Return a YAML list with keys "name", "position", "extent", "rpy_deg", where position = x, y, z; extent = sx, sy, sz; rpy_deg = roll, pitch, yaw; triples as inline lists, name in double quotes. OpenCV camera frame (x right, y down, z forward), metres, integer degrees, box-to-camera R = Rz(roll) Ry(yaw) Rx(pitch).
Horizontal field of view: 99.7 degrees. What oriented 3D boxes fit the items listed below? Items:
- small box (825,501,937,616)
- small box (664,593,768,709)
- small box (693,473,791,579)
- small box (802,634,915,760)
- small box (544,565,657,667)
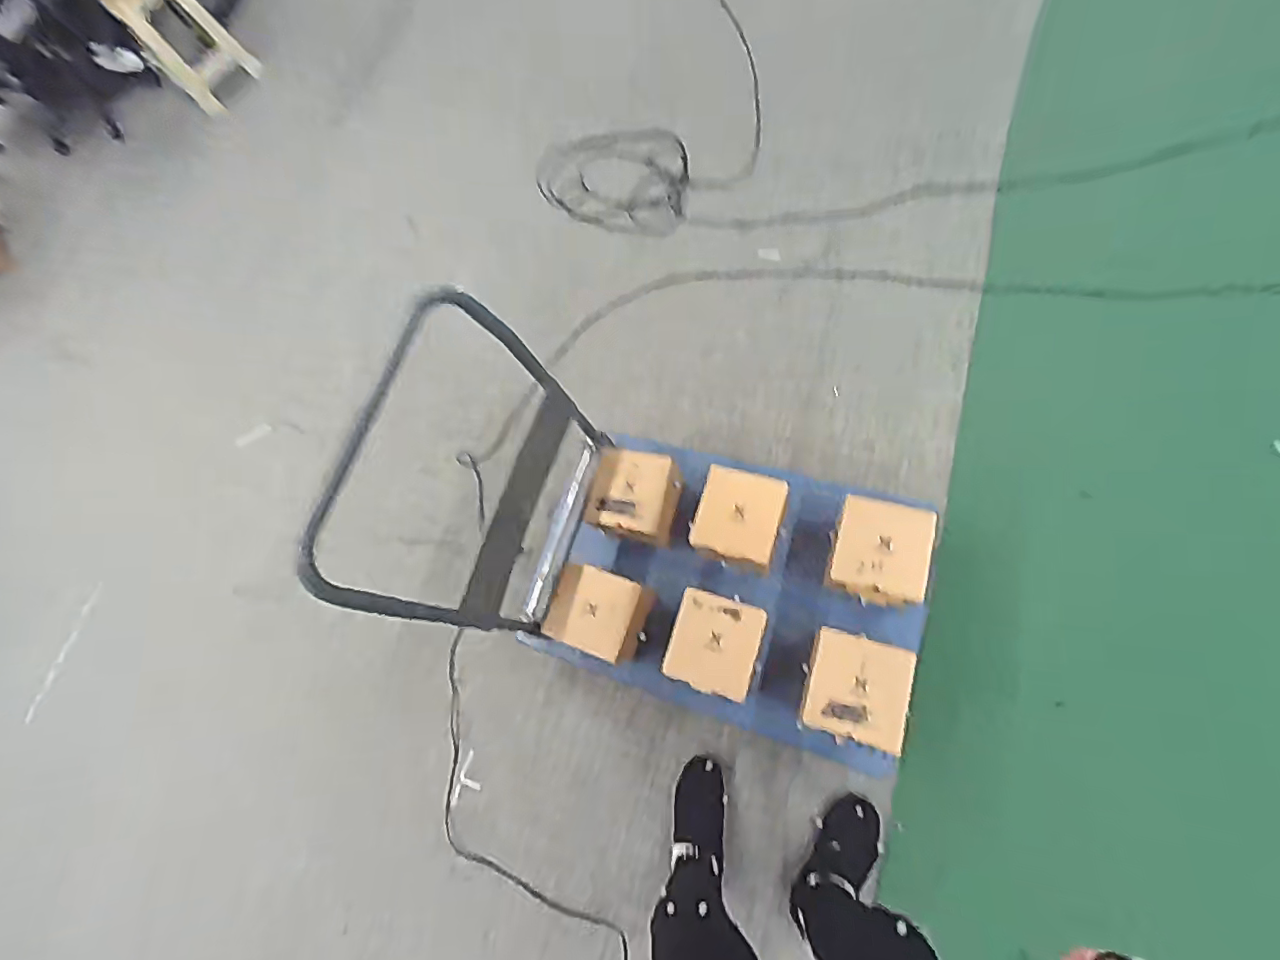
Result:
- name: "small box"
  position: [0.485, 0.165, 1.111]
  extent: [0.168, 0.176, 0.179]
  rpy_deg: [14, 74, 18]
- name: "small box"
  position: [0.166, 0.353, 1.124]
  extent: [0.168, 0.176, 0.179]
  rpy_deg: [15, 75, 18]
- name: "small box"
  position: [0.228, 0.107, 1.199]
  extent: [0.168, 0.176, 0.179]
  rpy_deg: [15, 77, 17]
- name: "small box"
  position: [0.418, 0.417, 1.059]
  extent: [0.168, 0.176, 0.179]
  rpy_deg: [13, 74, 17]
- name: "small box"
  position: [-0.079, 0.307, 1.200]
  extent: [0.179, 0.176, 0.168]
  rpy_deg: [17, 76, 17]
